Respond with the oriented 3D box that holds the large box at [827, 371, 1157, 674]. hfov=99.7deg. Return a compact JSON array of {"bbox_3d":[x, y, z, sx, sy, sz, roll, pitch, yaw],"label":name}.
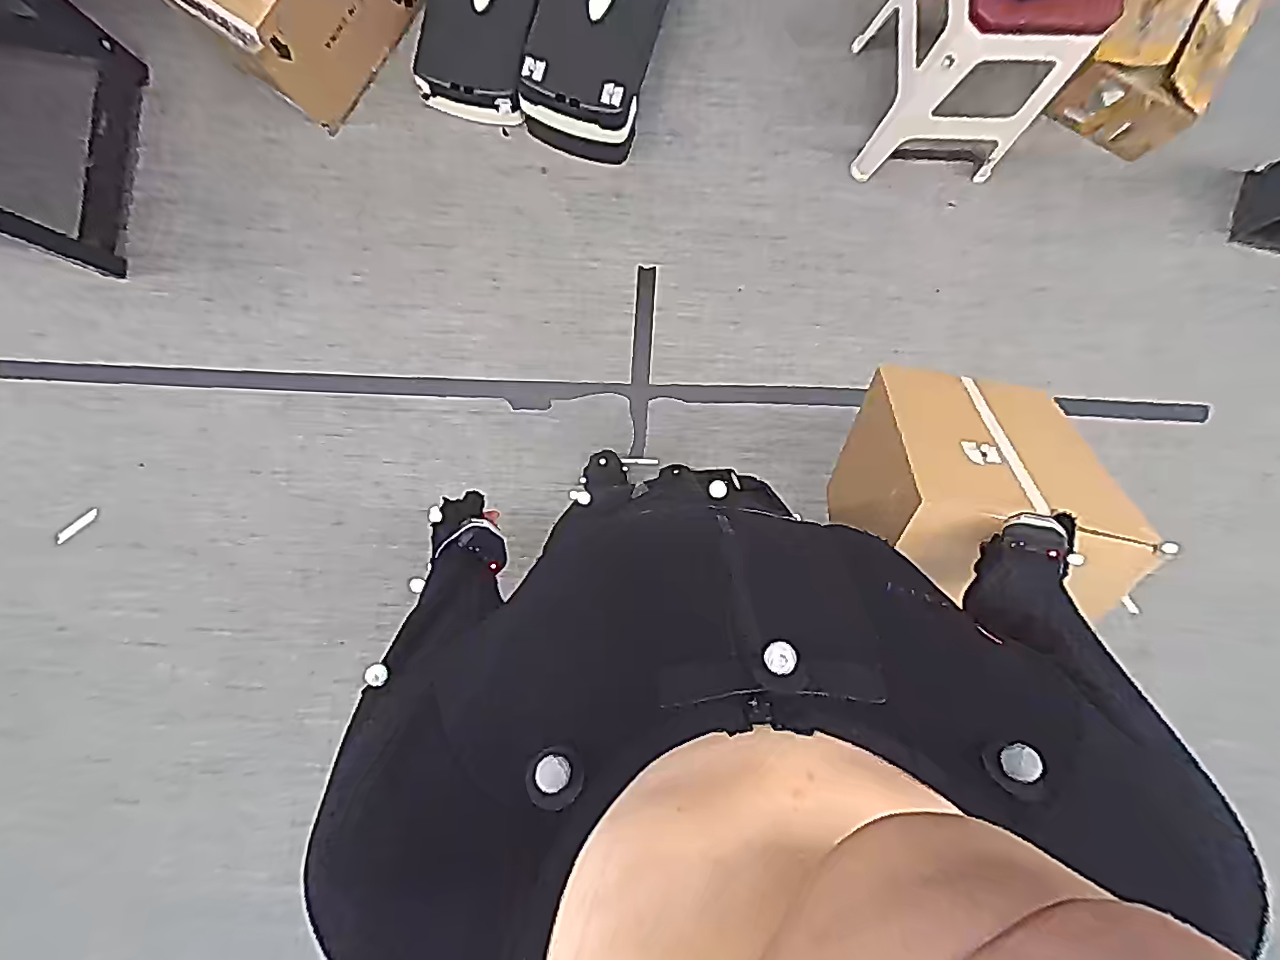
[{"bbox_3d":[0.547,0.059,0.961,0.320,0.408,0.320,12,130,5],"label":"large box"}]
